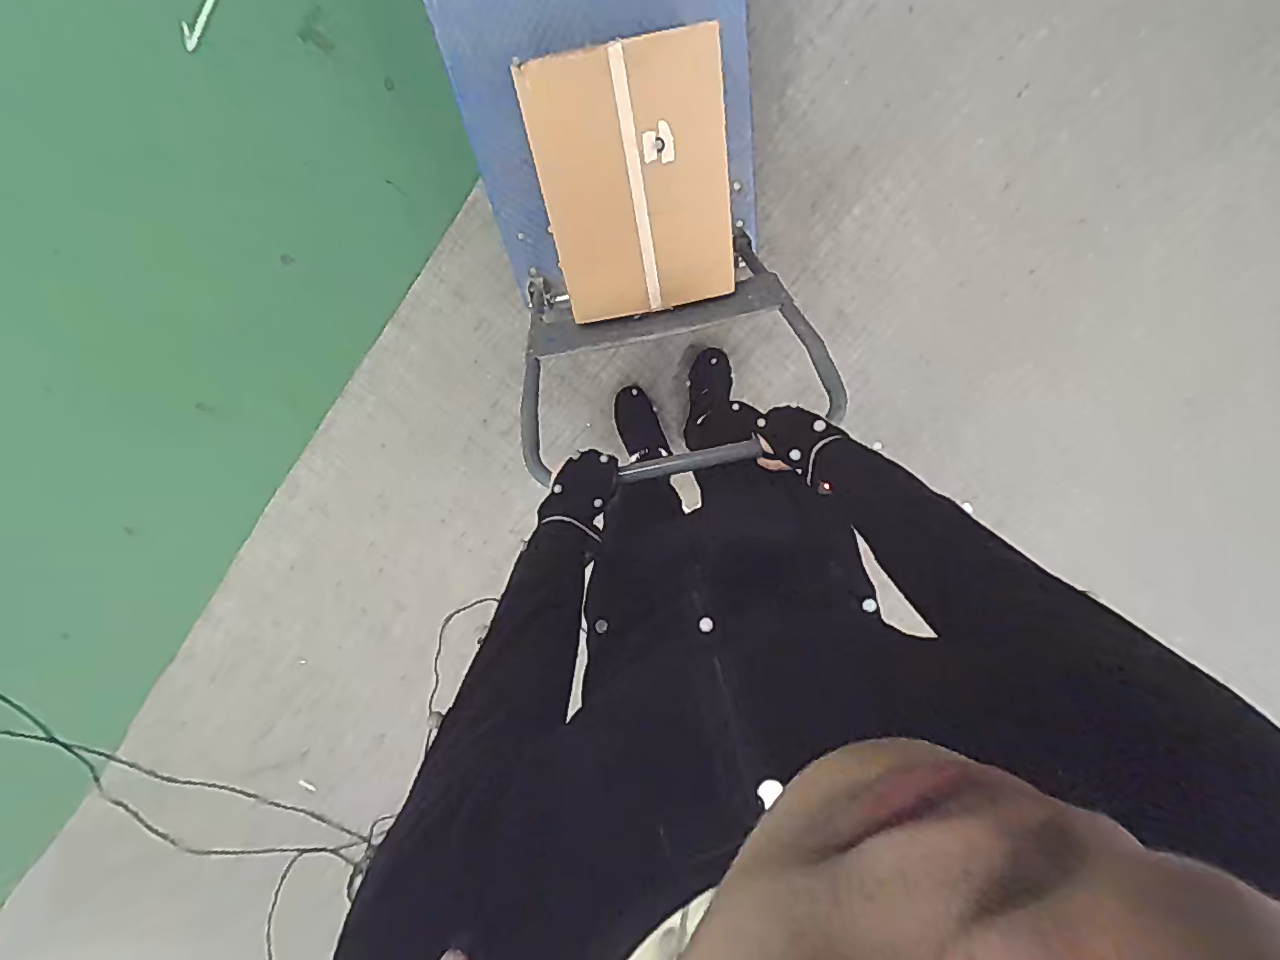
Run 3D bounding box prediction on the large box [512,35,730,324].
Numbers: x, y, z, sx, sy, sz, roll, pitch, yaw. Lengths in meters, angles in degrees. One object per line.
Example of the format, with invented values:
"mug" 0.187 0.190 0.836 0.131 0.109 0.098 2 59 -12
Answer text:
"large box" -0.020 -0.574 1.053 0.320 0.320 0.408 -10 127 2
